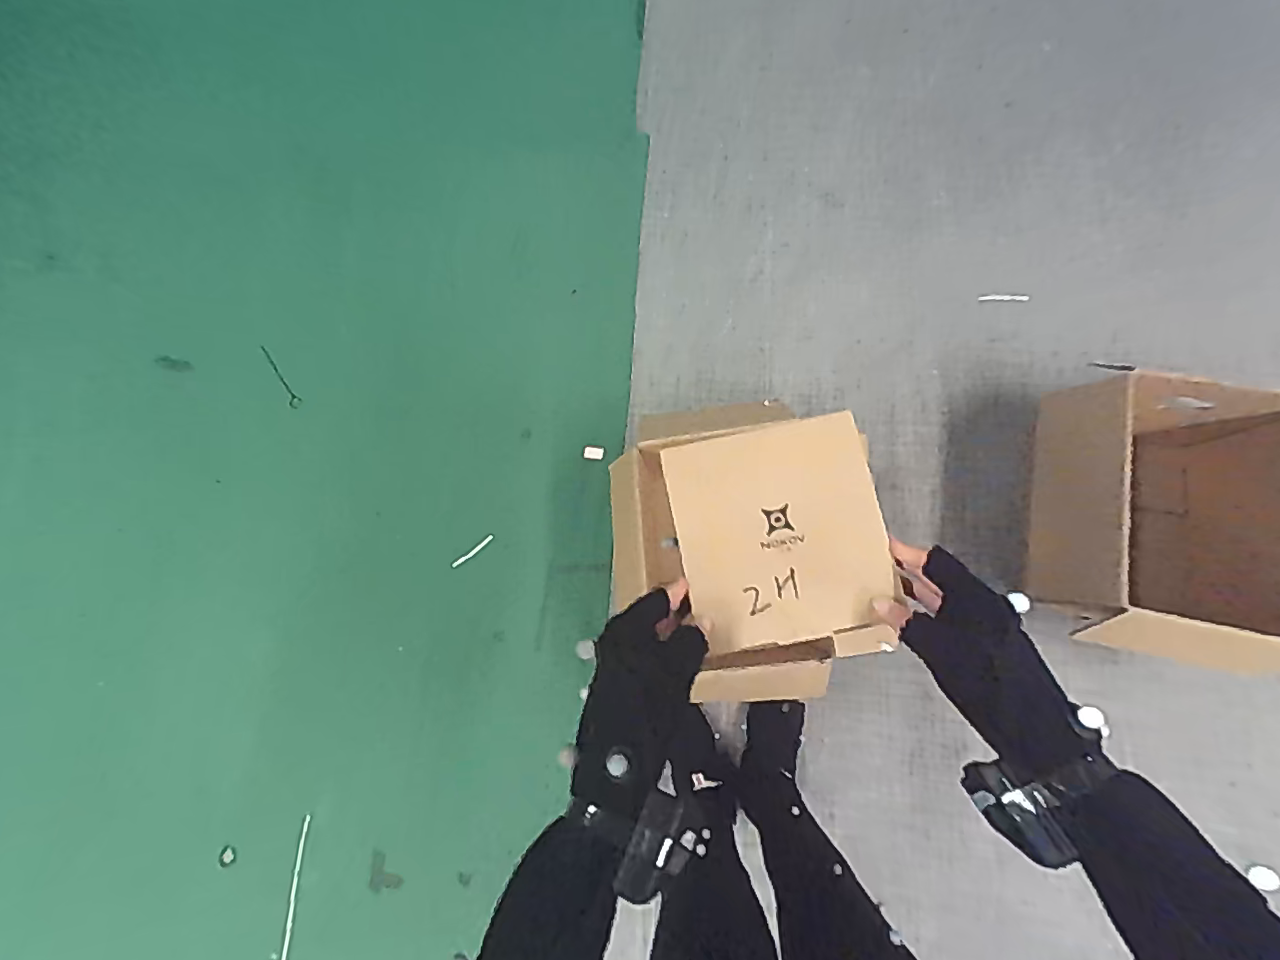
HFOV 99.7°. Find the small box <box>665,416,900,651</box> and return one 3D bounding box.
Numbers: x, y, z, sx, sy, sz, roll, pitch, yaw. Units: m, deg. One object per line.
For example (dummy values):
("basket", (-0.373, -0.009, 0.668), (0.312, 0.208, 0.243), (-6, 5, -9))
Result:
("small box", (0.120, 0.057, 0.528), (0.168, 0.176, 0.179), (-11, 78, 3))
